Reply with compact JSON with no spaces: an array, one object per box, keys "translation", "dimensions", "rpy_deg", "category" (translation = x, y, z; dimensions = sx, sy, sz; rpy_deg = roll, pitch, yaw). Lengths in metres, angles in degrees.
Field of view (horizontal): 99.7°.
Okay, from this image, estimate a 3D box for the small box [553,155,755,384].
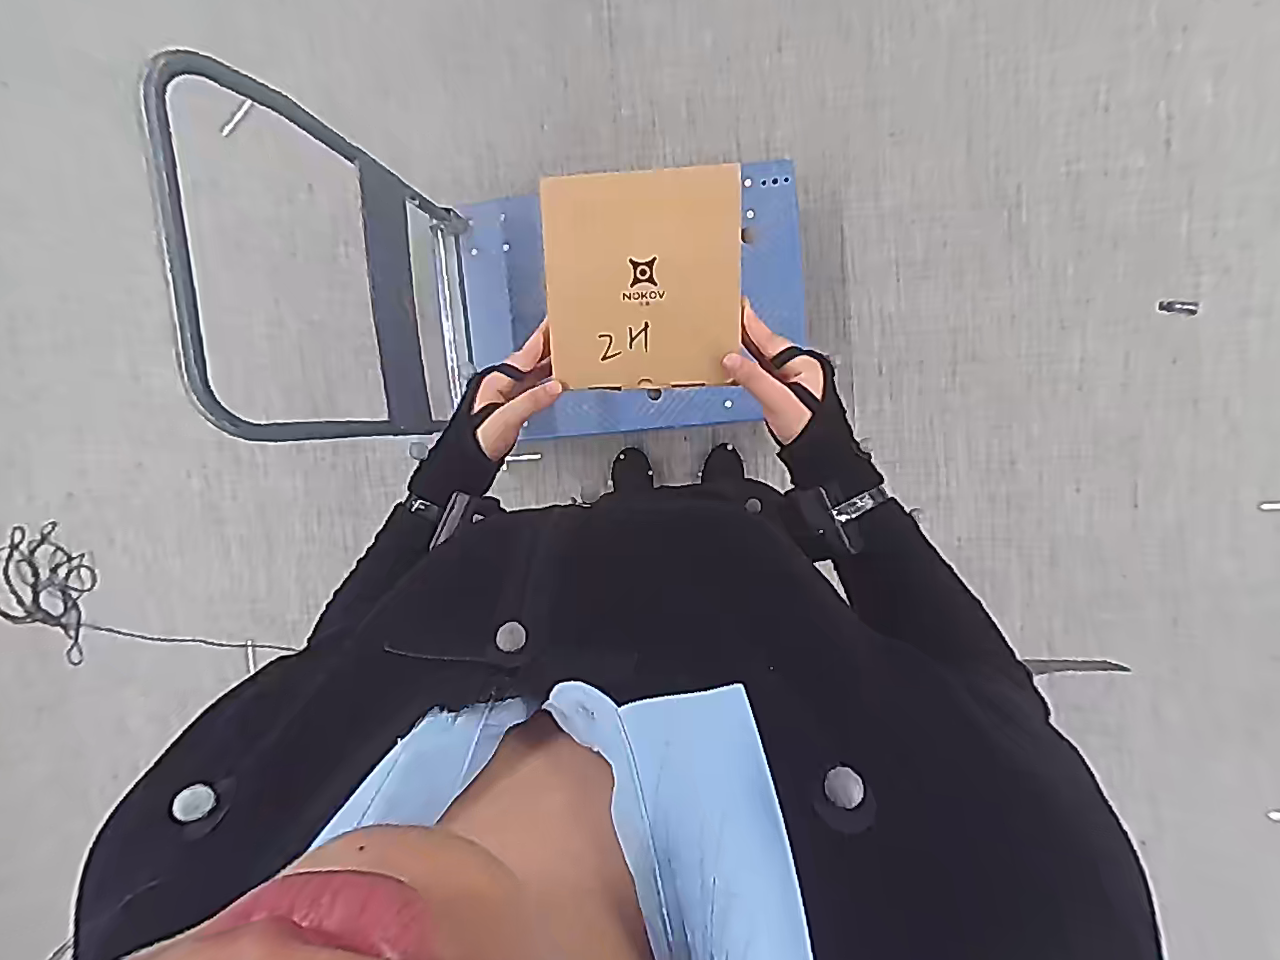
[{"translation":[0.018,-0.184,0.524],"dimensions":[0.168,0.176,0.179],"rpy_deg":[-1,101,6],"category":"small box"}]
